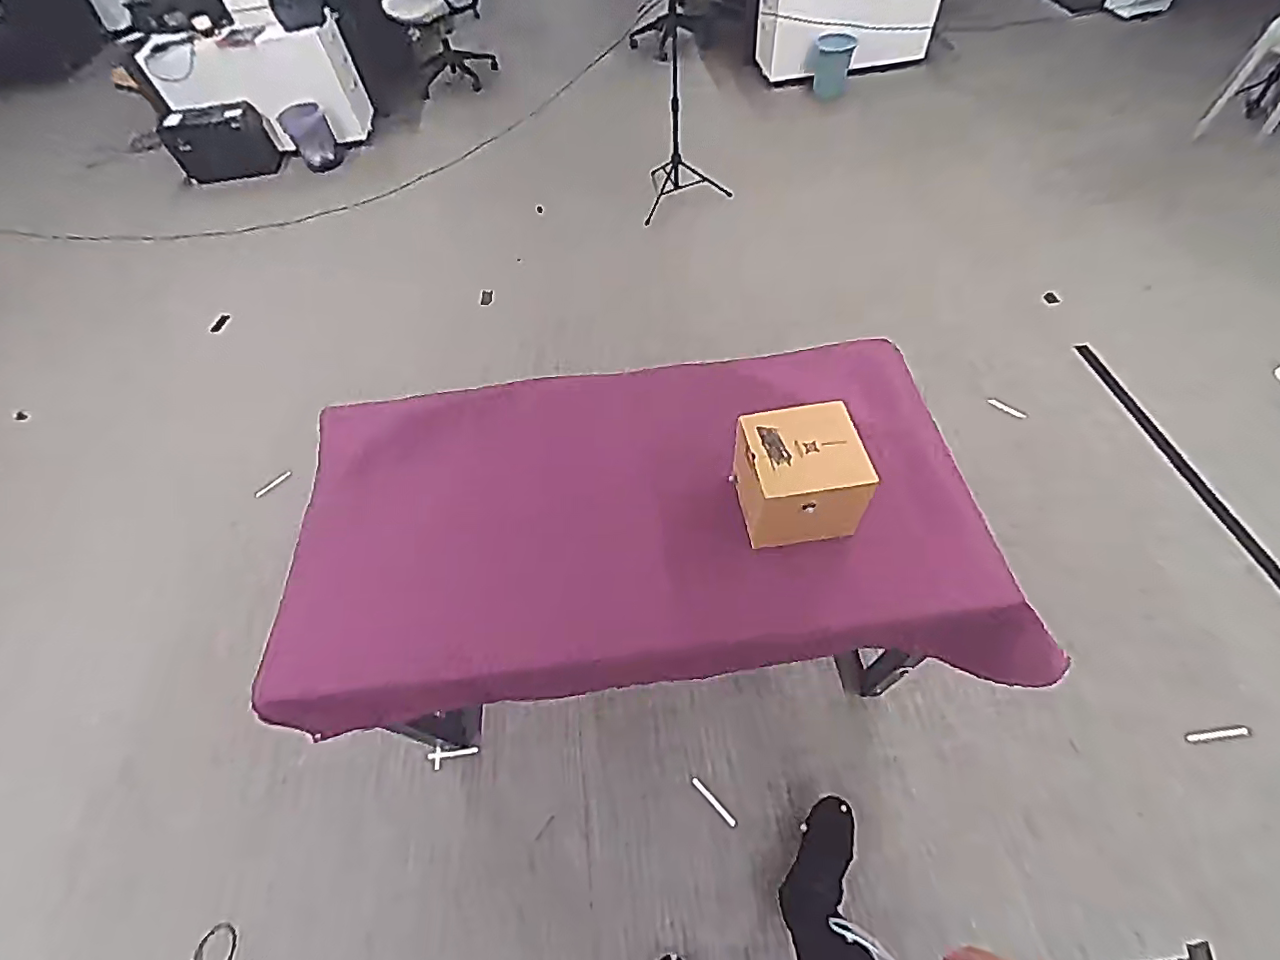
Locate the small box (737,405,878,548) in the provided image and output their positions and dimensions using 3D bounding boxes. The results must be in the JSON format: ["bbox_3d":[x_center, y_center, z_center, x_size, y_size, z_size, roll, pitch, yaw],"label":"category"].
[{"bbox_3d":[0.264,0.000,0.905,0.179,0.176,0.168,-8,56,-1],"label":"small box"}]
